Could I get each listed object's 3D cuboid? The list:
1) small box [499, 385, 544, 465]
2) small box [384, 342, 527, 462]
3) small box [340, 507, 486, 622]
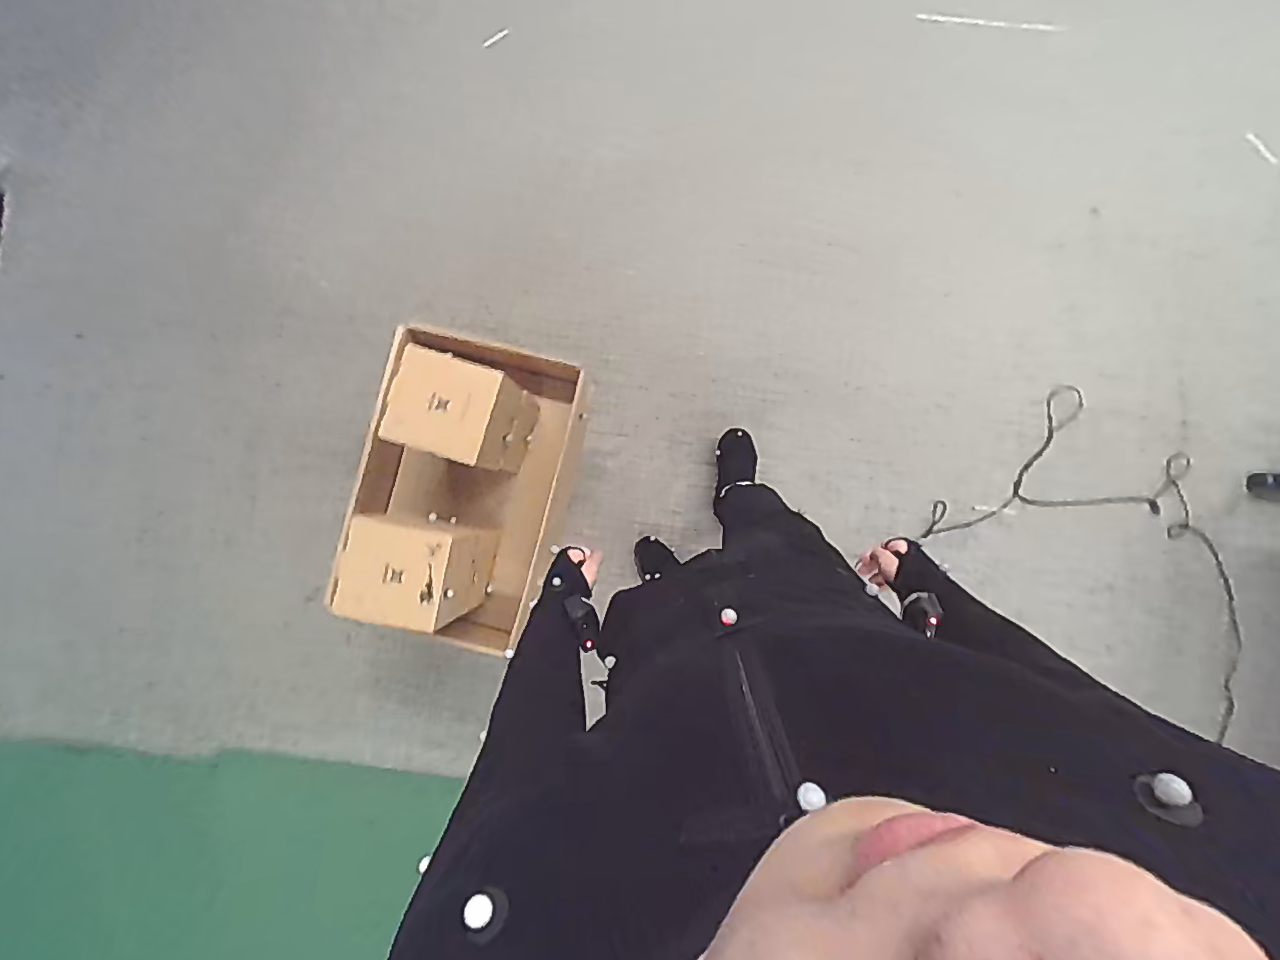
[{"bbox_3d":[-0.327,-0.134,1.168,0.179,0.176,0.168,18,89,2],"label":"small box"},{"bbox_3d":[-0.332,-0.134,1.005,0.179,0.176,0.168,18,89,2],"label":"small box"},{"bbox_3d":[-0.408,0.147,0.998,0.179,0.176,0.168,11,89,2],"label":"small box"}]
